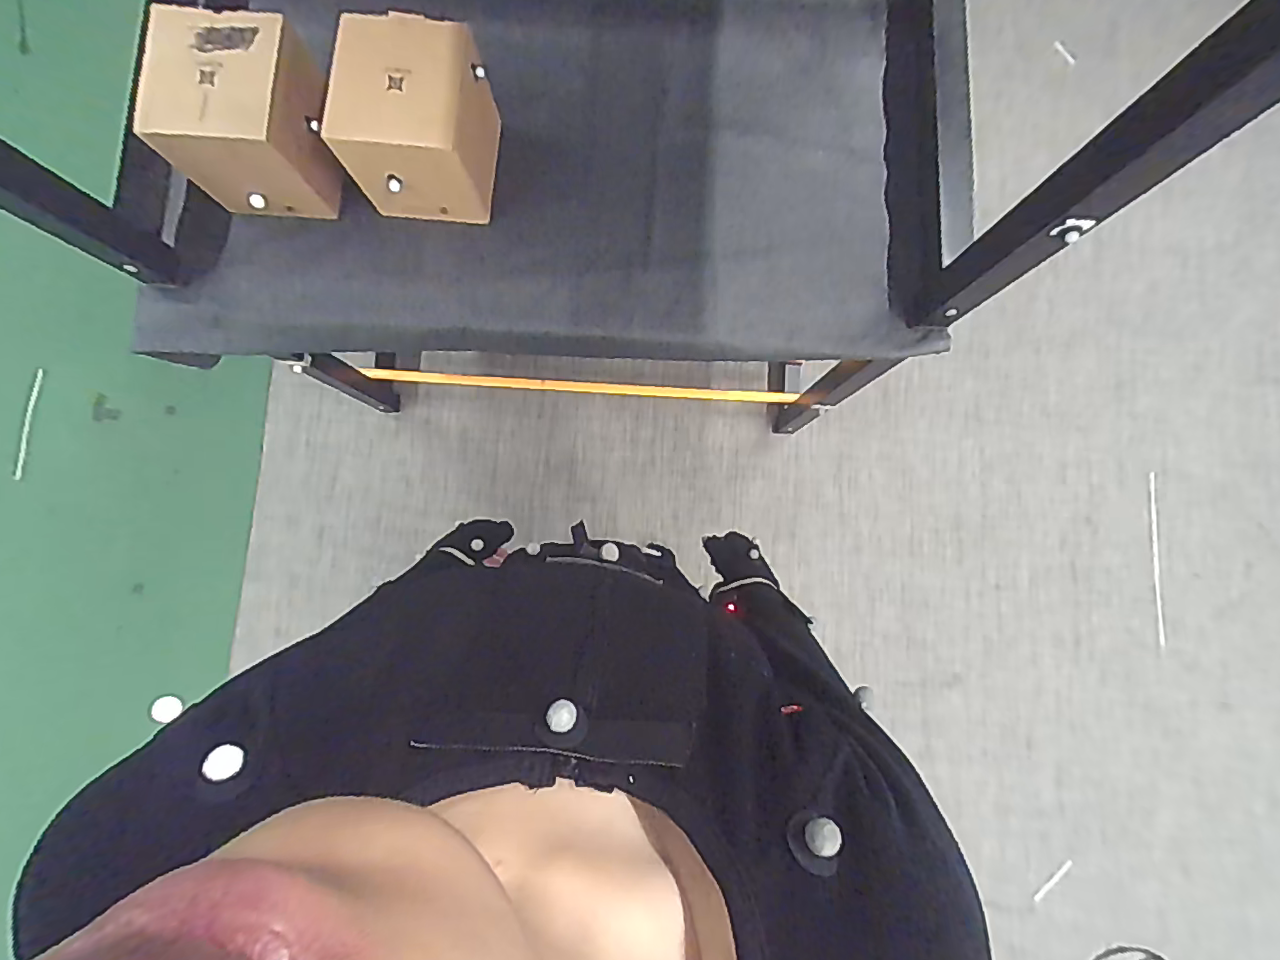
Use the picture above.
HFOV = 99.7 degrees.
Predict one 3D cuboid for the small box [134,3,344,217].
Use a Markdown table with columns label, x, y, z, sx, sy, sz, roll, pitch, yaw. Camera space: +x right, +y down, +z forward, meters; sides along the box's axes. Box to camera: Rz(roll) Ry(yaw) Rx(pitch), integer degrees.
| label | x | y | z | sx | sy | sz | roll | pitch | yaw |
| --- | --- | --- | --- | --- | --- | --- | --- | --- | --- |
| small box | -0.534 | -0.500 | 0.751 | 0.168 | 0.176 | 0.179 | 3 | 84 | -1 |

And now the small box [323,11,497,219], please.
| label | x | y | z | sx | sy | sz | roll | pitch | yaw |
| --- | --- | --- | --- | --- | --- | --- | --- | --- | --- |
| small box | -0.306 | -0.495 | 0.758 | 0.168 | 0.176 | 0.179 | 4 | 83 | -1 |
